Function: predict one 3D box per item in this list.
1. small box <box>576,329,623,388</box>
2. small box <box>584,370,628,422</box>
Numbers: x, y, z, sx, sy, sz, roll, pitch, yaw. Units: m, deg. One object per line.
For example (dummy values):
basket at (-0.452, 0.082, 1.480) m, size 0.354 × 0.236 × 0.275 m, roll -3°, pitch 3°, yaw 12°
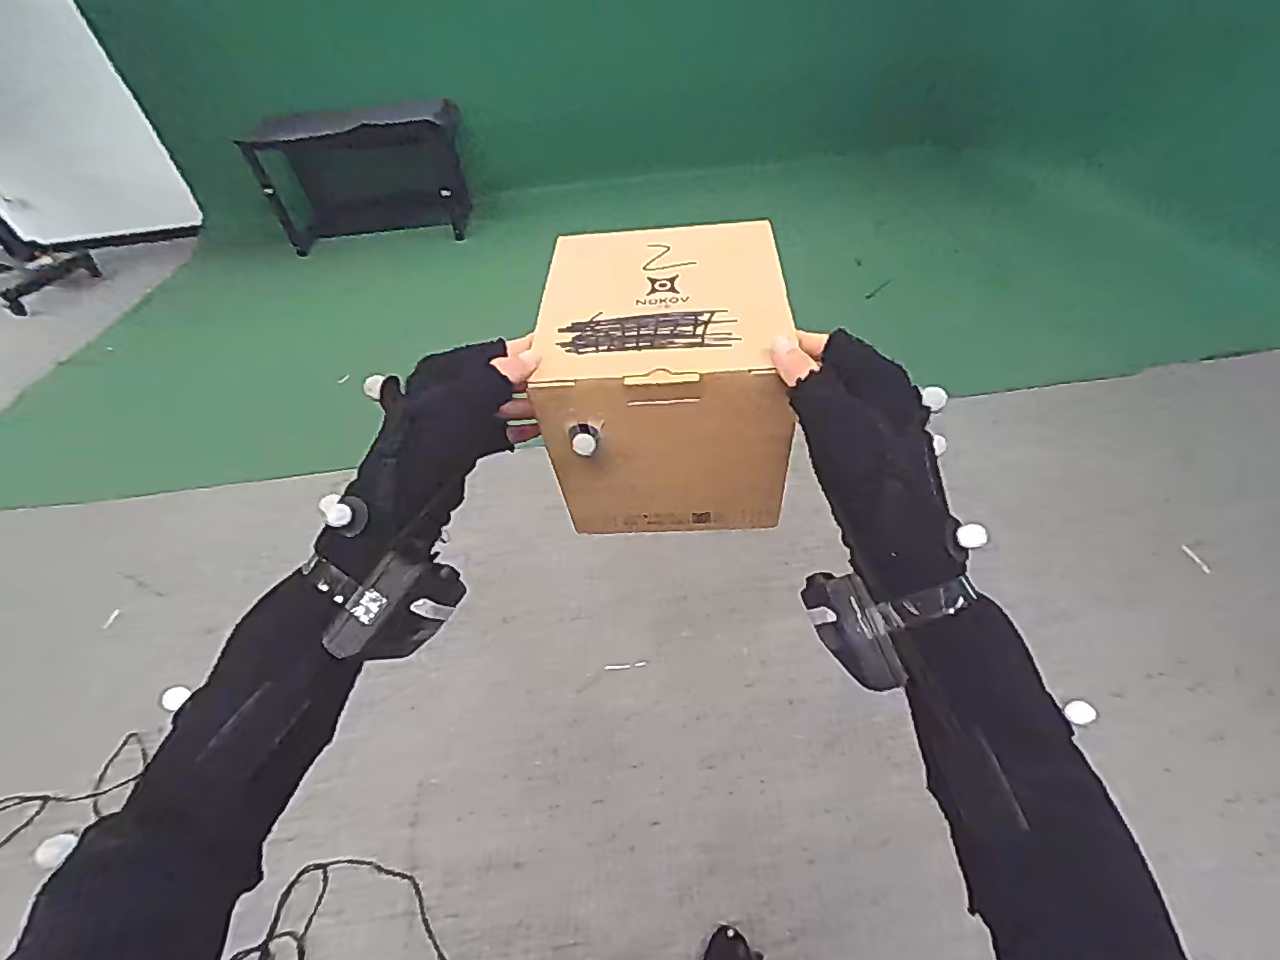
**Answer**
small box at (-0.159, -0.486, 2.186) m, size 0.168 × 0.176 × 0.179 m, roll -6°, pitch 44°, yaw 2°
small box at (-0.143, -0.370, 2.301) m, size 0.168 × 0.176 × 0.179 m, roll -7°, pitch 45°, yaw 1°
